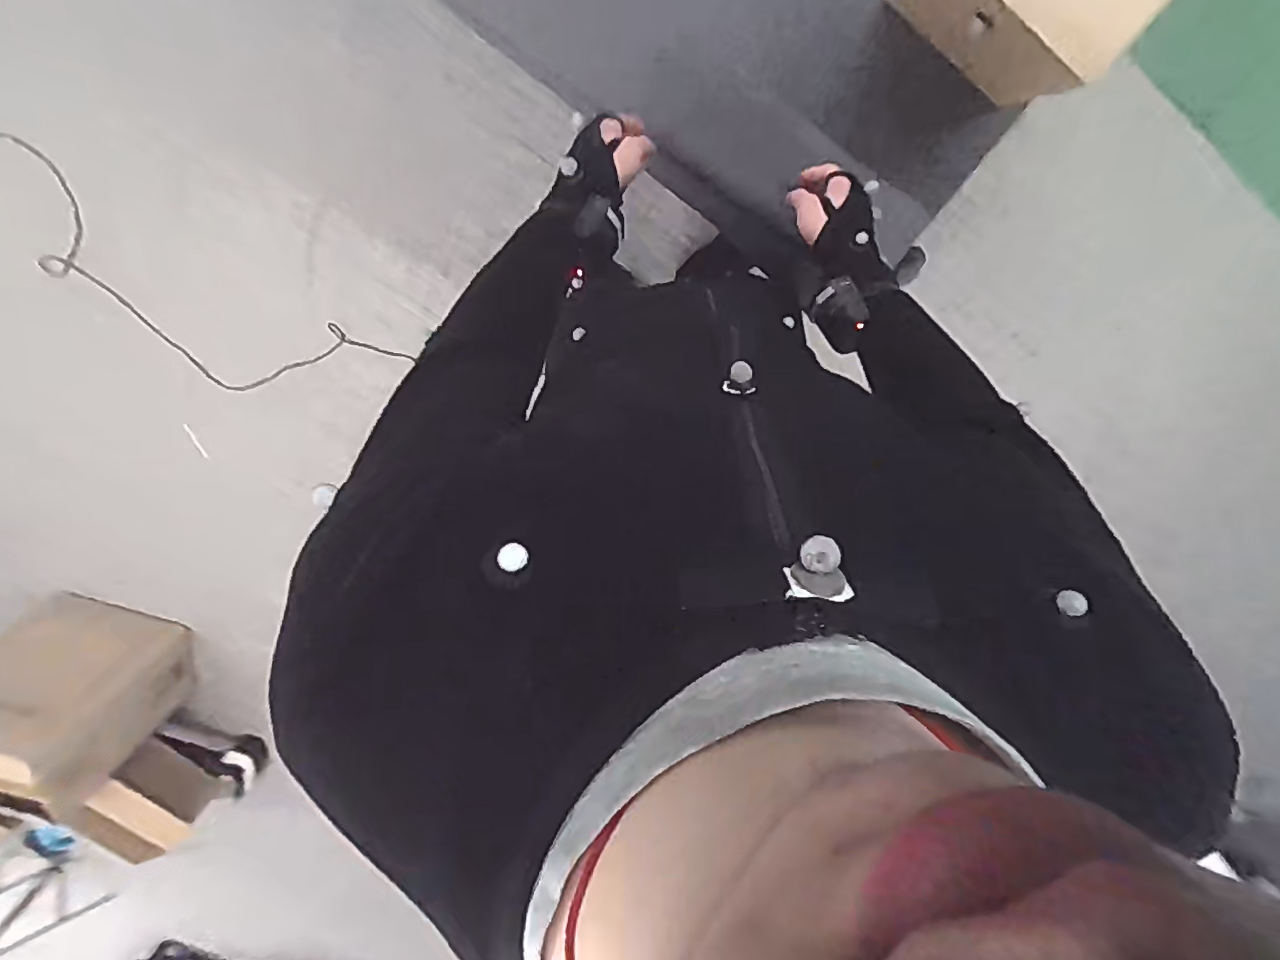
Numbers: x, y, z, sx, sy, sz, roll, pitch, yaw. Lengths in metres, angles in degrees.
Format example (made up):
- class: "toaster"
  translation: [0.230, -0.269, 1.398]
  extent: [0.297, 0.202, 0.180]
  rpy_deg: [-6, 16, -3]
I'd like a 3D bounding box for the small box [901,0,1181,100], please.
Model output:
- class: "small box"
  translation: [0.365, -0.467, 0.468]
  extent: [0.179, 0.176, 0.168]
  rpy_deg: [33, 117, -13]
